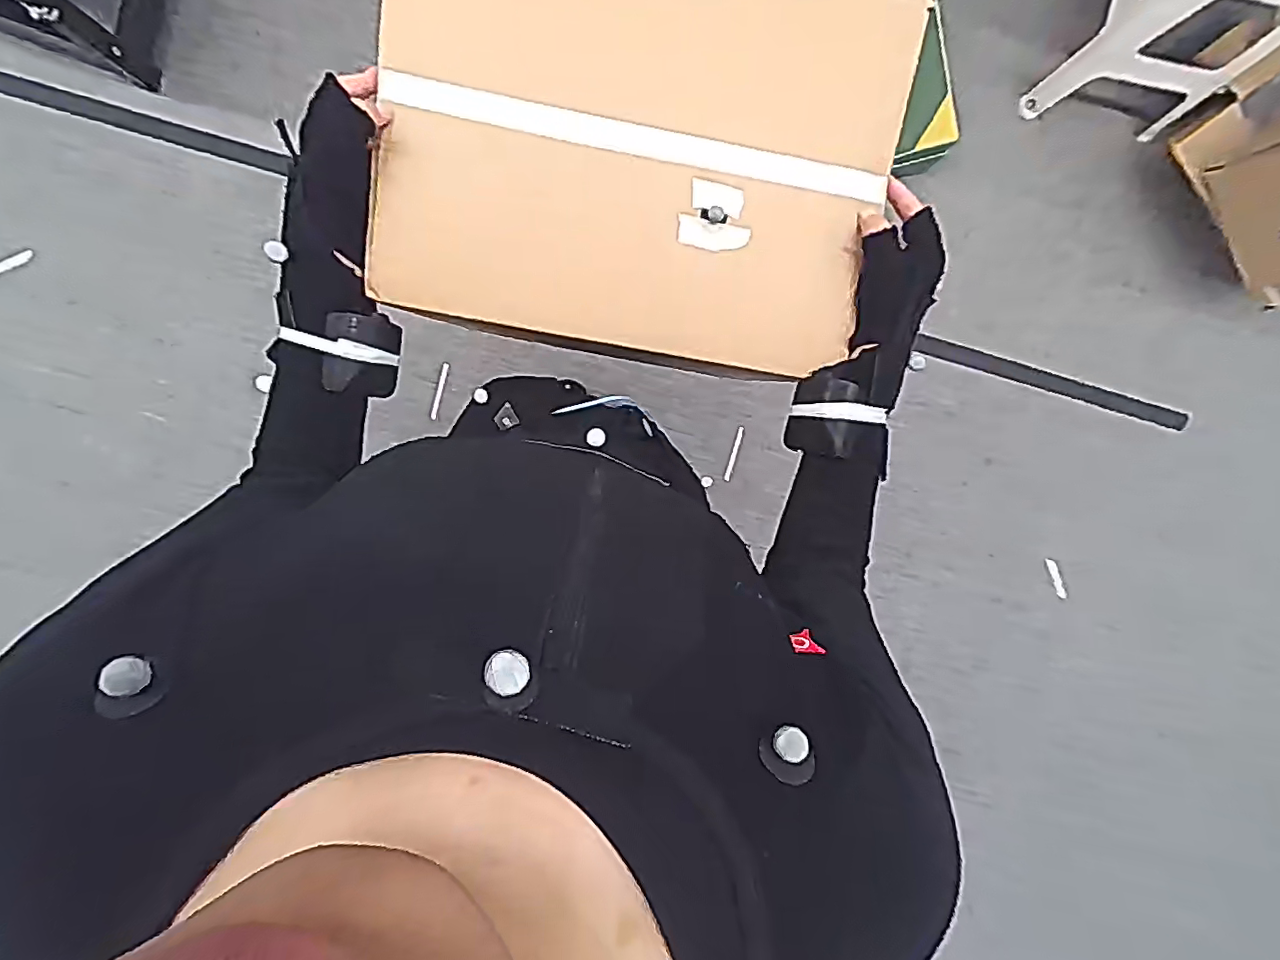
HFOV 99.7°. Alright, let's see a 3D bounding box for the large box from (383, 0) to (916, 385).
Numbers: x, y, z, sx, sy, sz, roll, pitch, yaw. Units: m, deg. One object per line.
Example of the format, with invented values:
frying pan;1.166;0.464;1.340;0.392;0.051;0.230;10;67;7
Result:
large box;-0.008;-0.290;0.586;0.408;0.320;0.320;9;101;-6
